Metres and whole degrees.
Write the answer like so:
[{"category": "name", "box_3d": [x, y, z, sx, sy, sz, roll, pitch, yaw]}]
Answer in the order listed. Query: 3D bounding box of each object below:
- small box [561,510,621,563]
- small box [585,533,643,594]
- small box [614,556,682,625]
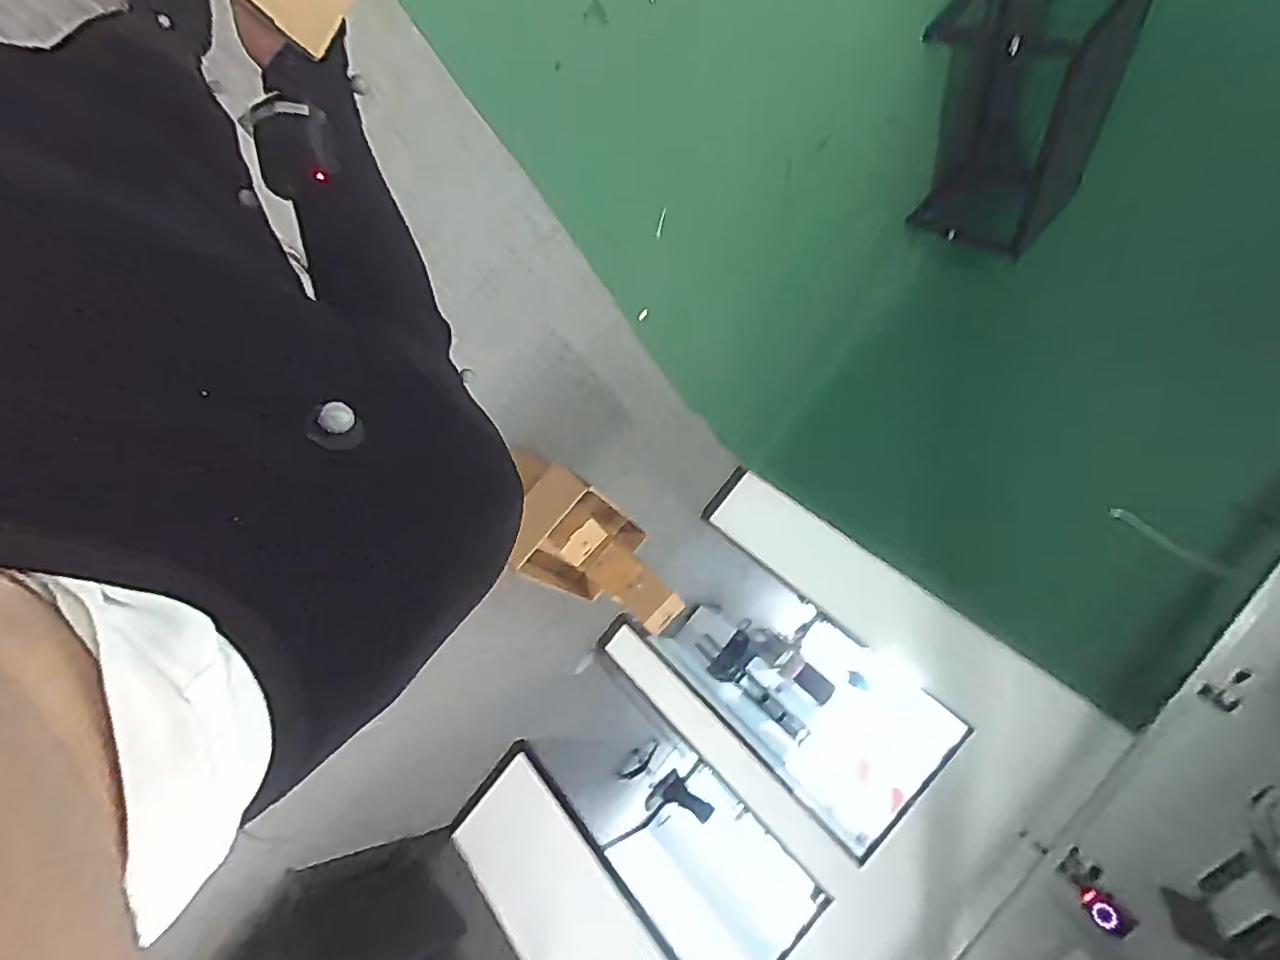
[{"category": "small box", "box_3d": [-0.192, 0.247, 2.229, 0.168, 0.176, 0.179, -51, 148, -2]}, {"category": "small box", "box_3d": [-0.085, 0.333, 2.143, 0.168, 0.176, 0.179, -50, 148, -1]}, {"category": "small box", "box_3d": [0.029, 0.420, 2.061, 0.168, 0.176, 0.179, -45, 147, -9]}]
